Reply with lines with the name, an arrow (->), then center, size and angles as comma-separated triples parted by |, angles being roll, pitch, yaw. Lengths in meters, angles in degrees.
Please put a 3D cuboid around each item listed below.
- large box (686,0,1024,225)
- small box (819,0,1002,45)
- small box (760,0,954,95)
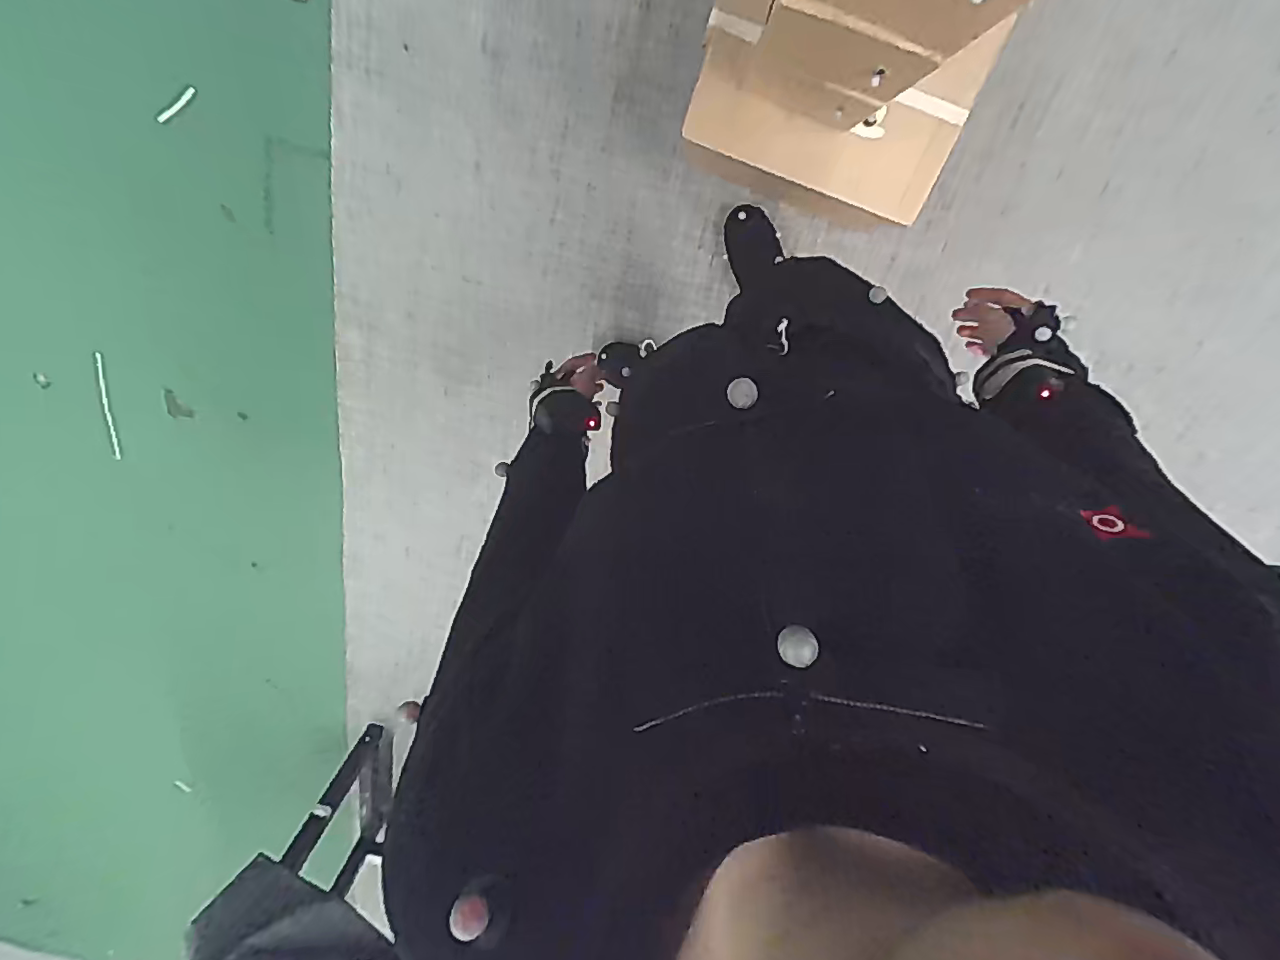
large box -> 0.315, -0.668, 0.936 | 0.408, 0.320, 0.320 | 19, 115, -4
small box -> 0.233, -0.472, 0.406 | 0.179, 0.176, 0.168 | 18, 113, -4
small box -> 0.240, -0.529, 0.559 | 0.179, 0.176, 0.168 | 17, 113, -1
